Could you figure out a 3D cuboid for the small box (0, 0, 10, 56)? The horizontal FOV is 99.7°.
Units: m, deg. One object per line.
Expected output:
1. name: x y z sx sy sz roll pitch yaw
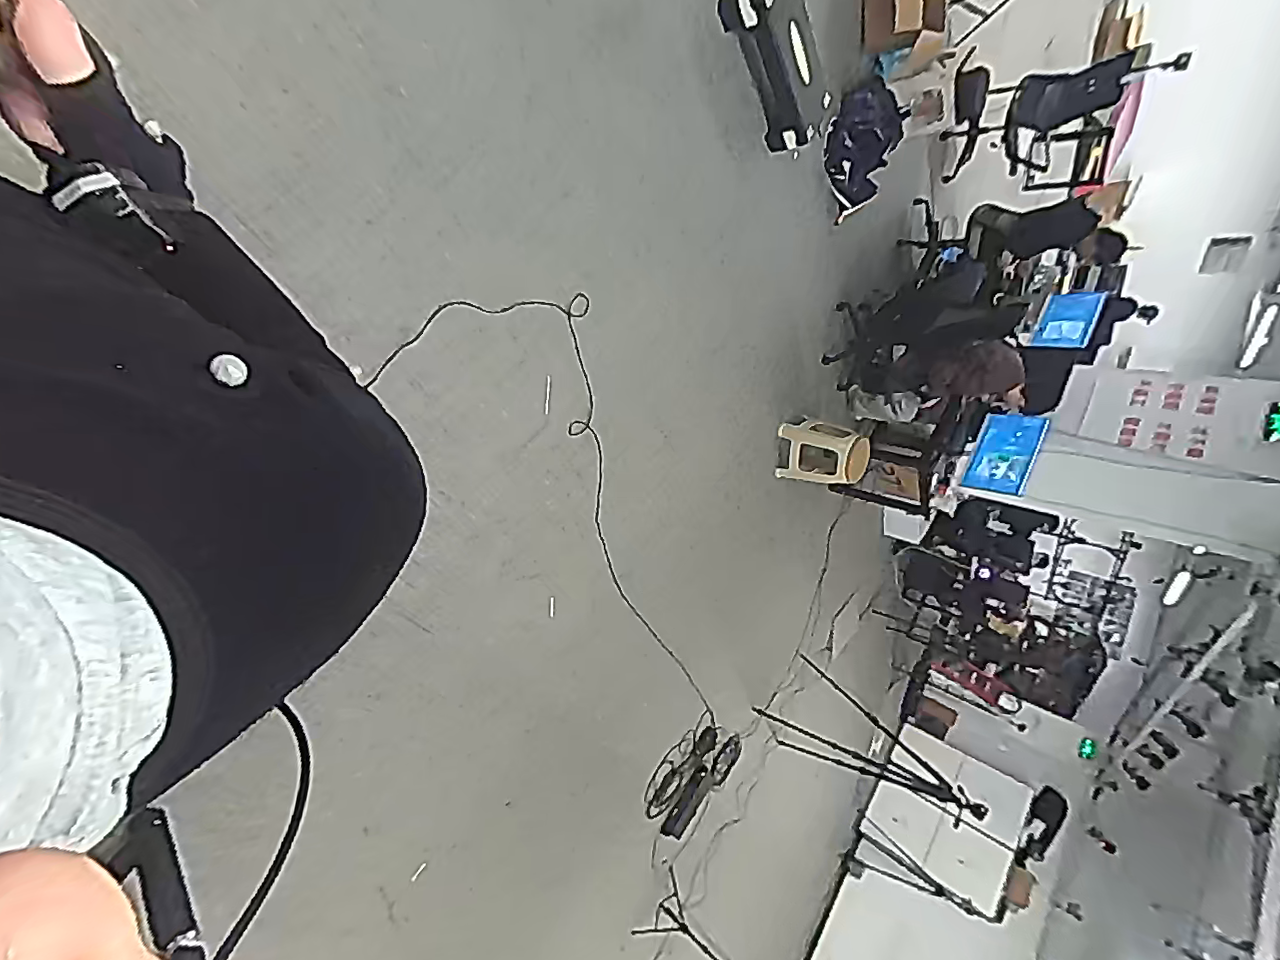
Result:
1. small box: -0.454 -0.324 0.259 0.179 0.176 0.168 -14 115 -45
